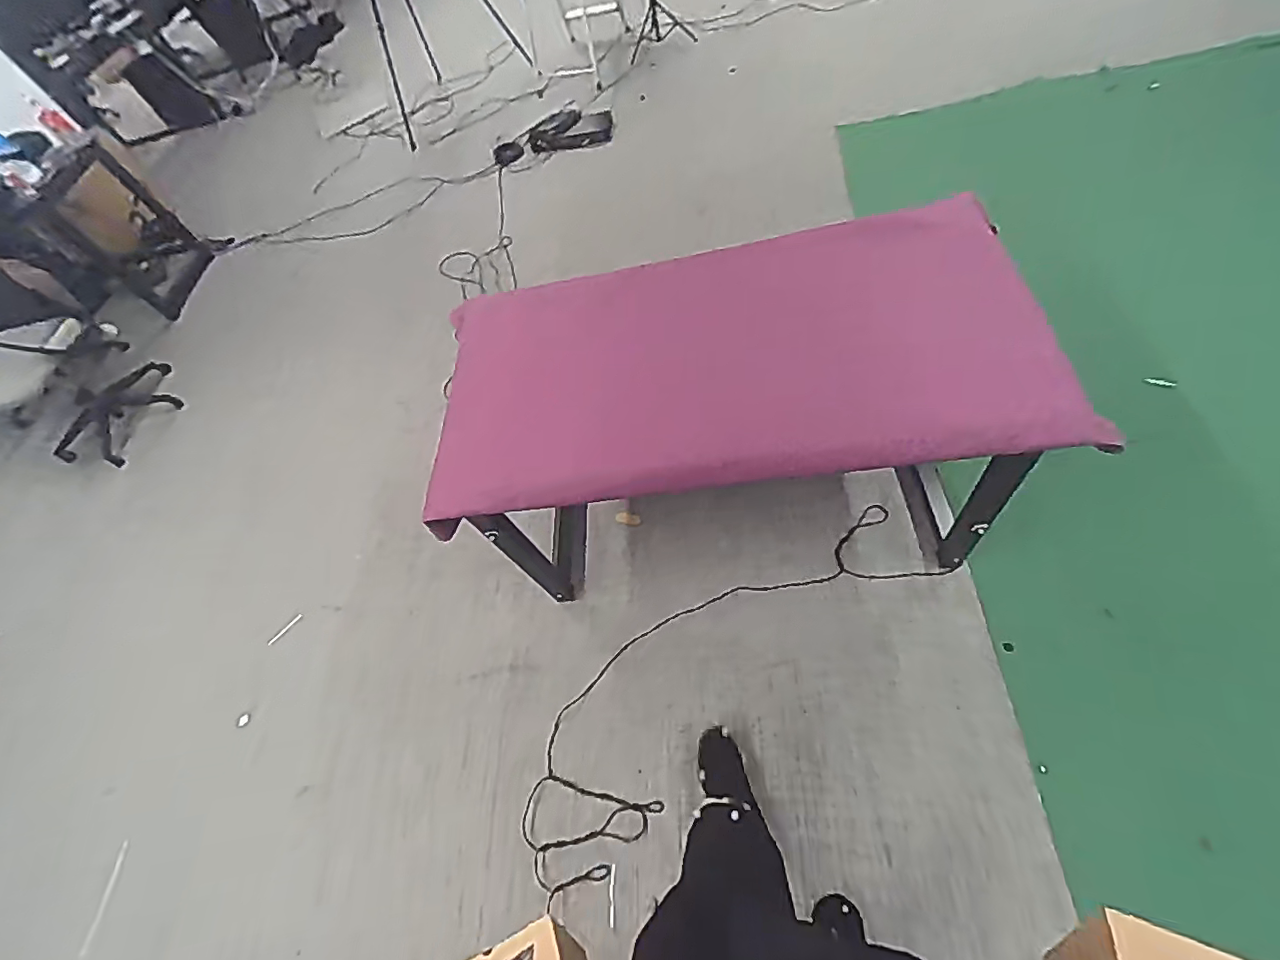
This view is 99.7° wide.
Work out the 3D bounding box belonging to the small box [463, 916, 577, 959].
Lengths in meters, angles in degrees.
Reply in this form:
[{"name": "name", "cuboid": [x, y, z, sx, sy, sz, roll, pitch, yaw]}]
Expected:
[{"name": "small box", "cuboid": [-0.145, 0.683, 0.644, 0.168, 0.176, 0.179, -23, 37, -12]}]
